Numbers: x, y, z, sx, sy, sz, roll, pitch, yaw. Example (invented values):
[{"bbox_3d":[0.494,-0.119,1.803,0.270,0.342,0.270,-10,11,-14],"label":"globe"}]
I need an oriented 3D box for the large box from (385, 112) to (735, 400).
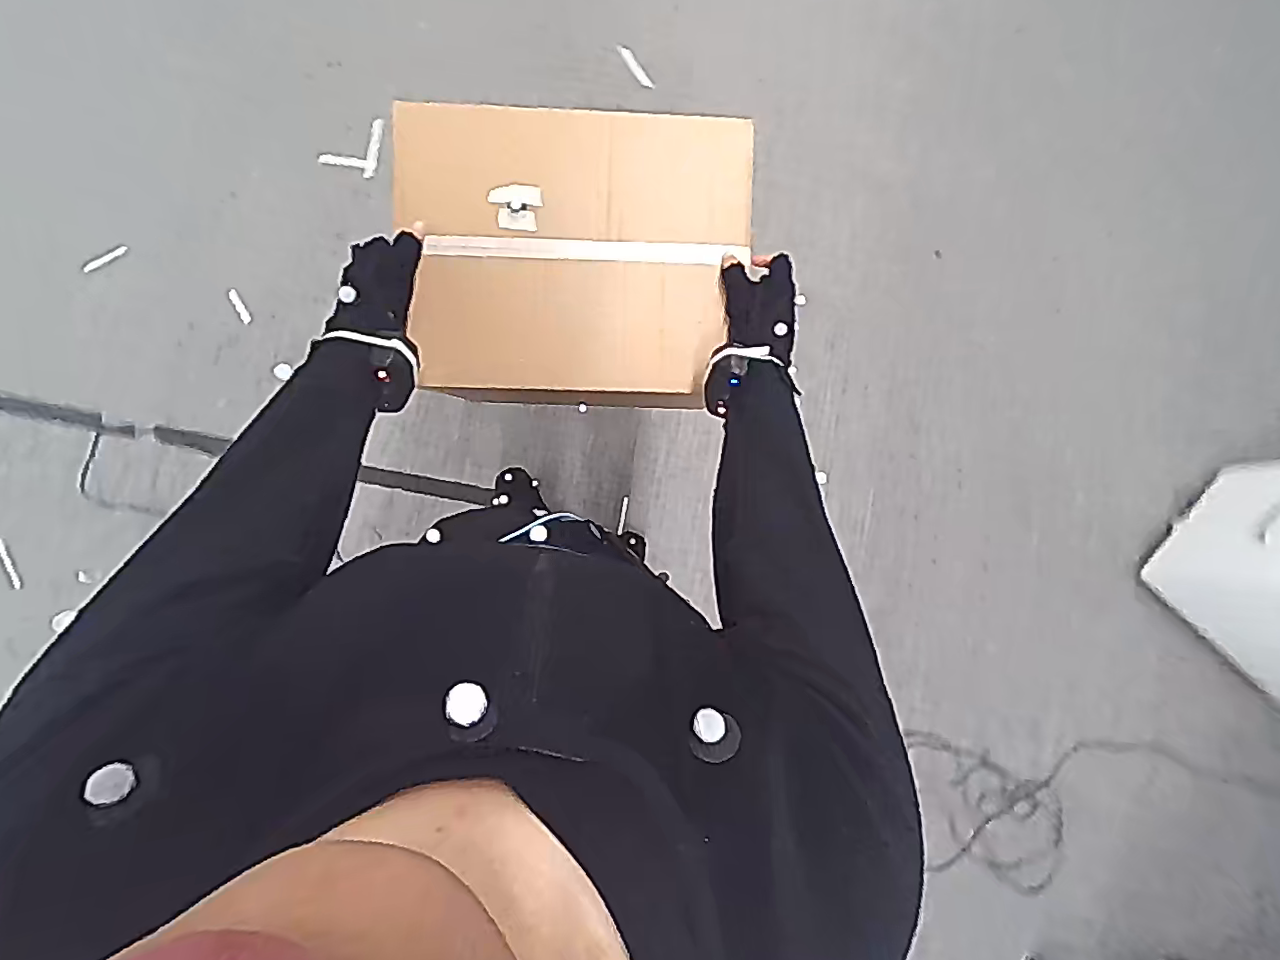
[{"bbox_3d":[-0.092,-0.278,0.775,0.408,0.320,0.320,-1,94,-2],"label":"large box"}]
